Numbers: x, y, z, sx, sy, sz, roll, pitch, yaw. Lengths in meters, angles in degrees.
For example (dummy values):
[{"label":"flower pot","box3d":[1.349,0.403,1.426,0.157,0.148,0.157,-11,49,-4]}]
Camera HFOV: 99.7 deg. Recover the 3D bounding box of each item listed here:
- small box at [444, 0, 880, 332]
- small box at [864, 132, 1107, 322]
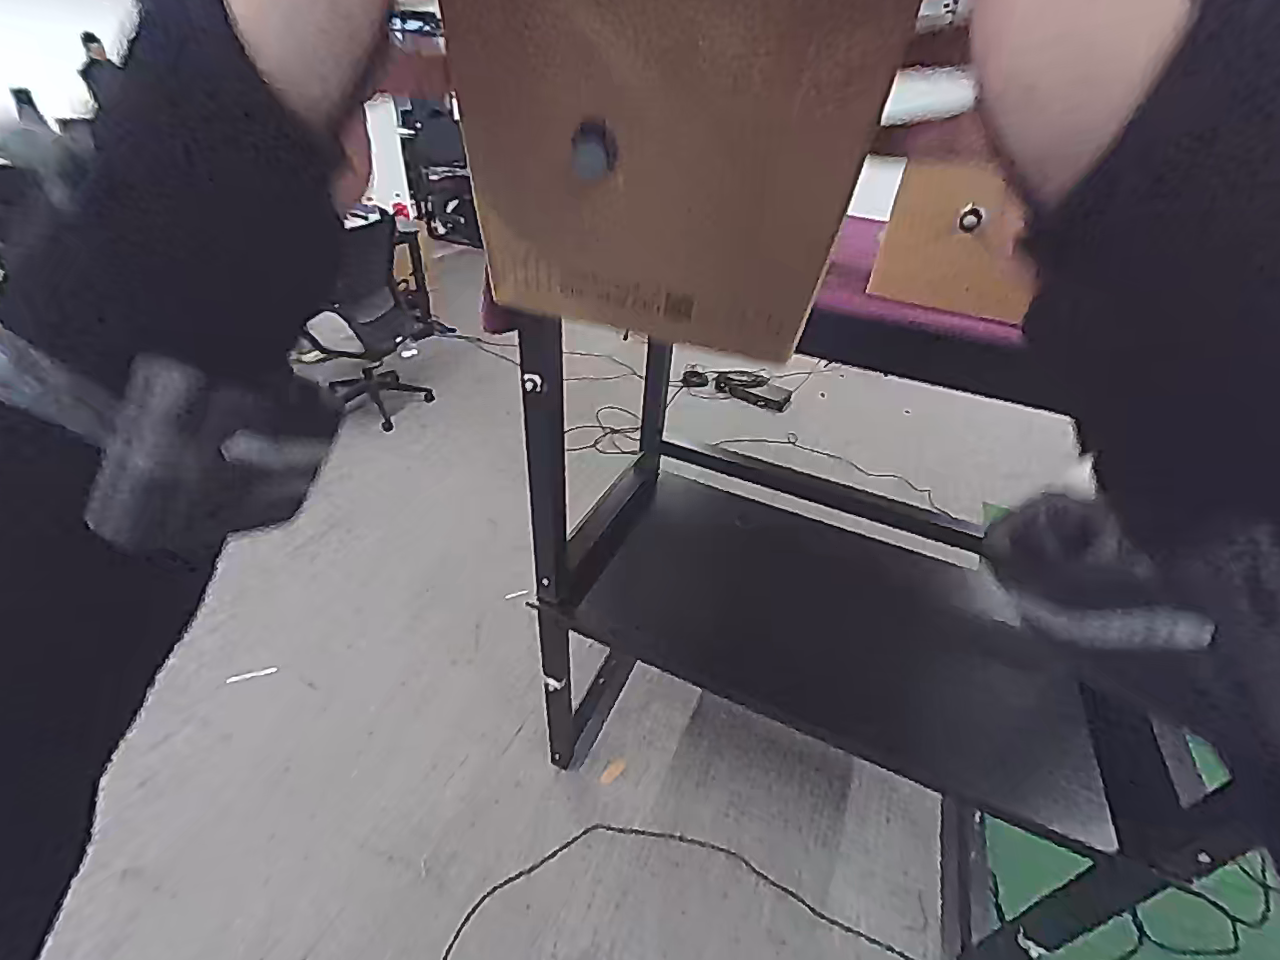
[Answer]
[{"label":"small box","box3d":[0.023,-0.204,0.283,0.168,0.176,0.179,14,54,7]},{"label":"small box","box3d":[0.383,-0.294,0.624,0.179,0.176,0.168,20,38,23]}]
